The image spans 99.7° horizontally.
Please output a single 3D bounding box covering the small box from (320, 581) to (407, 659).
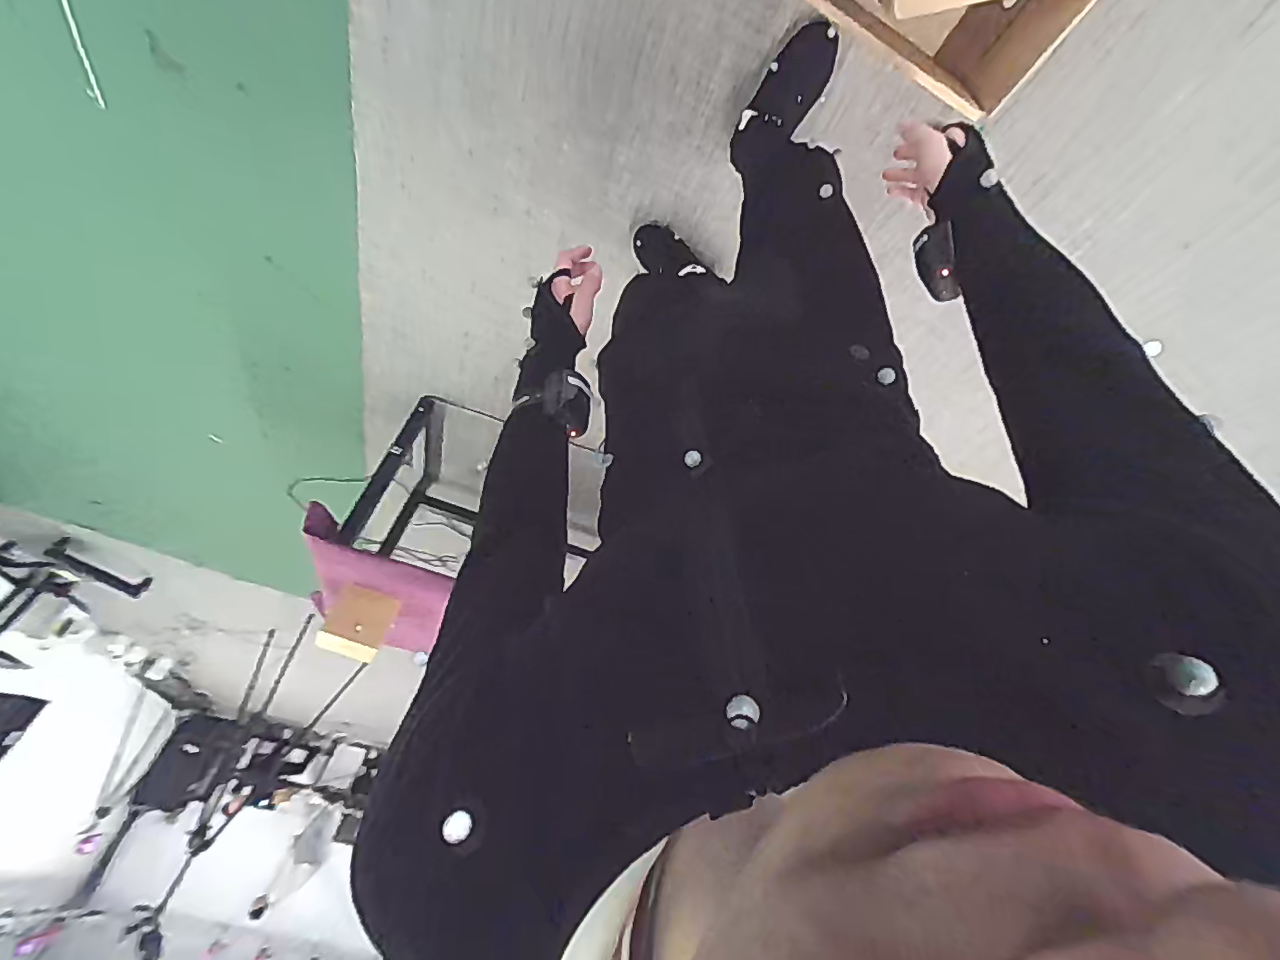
[{"bbox_3d":[-0.864,0.433,1.692,0.179,0.176,0.168,27,139,-18],"label":"small box"}]
